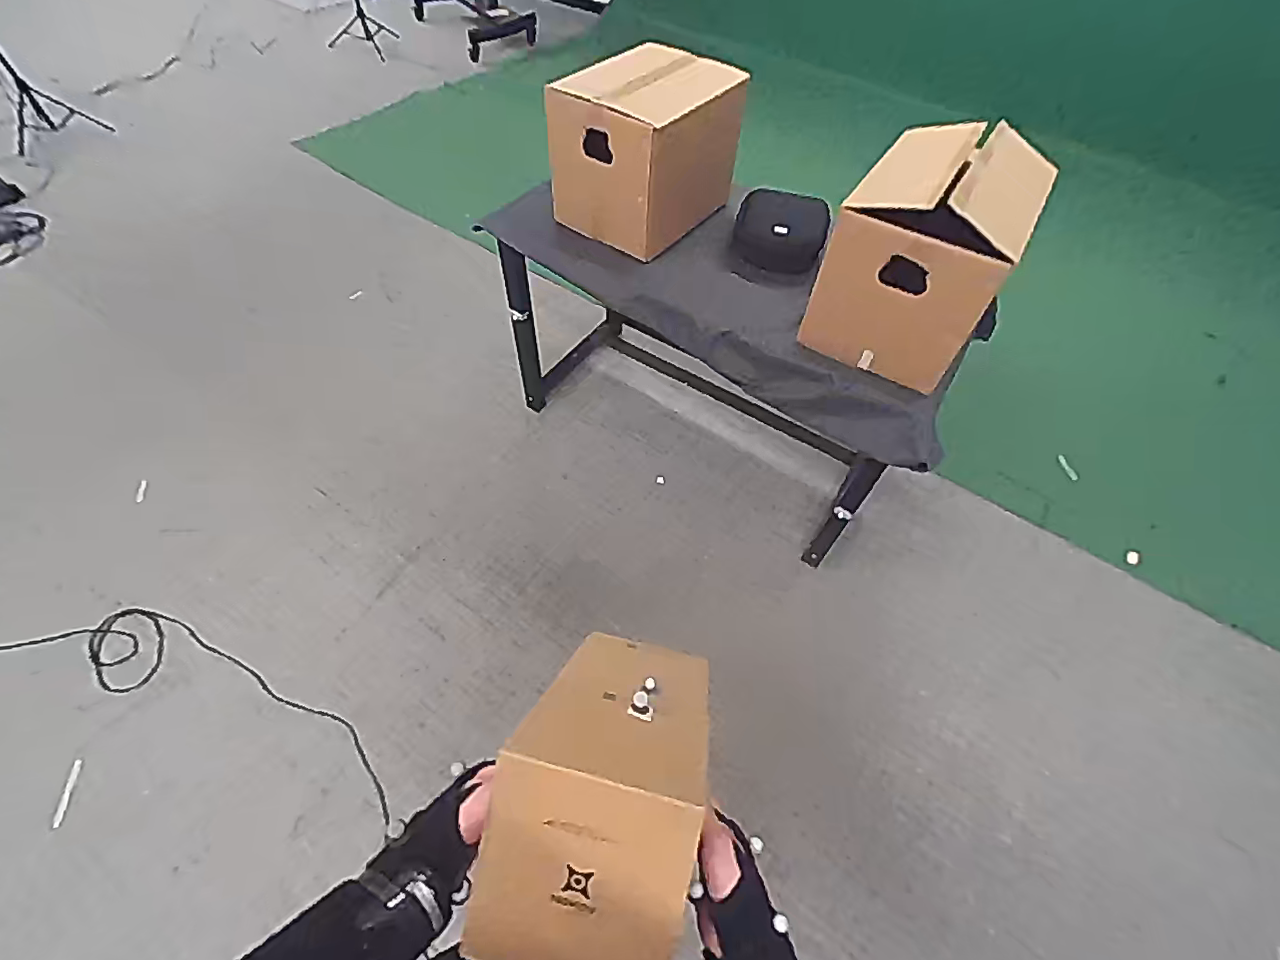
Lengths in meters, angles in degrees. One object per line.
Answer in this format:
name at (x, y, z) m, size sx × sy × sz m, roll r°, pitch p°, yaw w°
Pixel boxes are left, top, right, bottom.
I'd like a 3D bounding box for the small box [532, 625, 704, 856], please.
small box at (-0.016, 0.302, 0.665) m, size 0.168 × 0.176 × 0.179 m, roll 11°, pitch 94°, yaw 7°
